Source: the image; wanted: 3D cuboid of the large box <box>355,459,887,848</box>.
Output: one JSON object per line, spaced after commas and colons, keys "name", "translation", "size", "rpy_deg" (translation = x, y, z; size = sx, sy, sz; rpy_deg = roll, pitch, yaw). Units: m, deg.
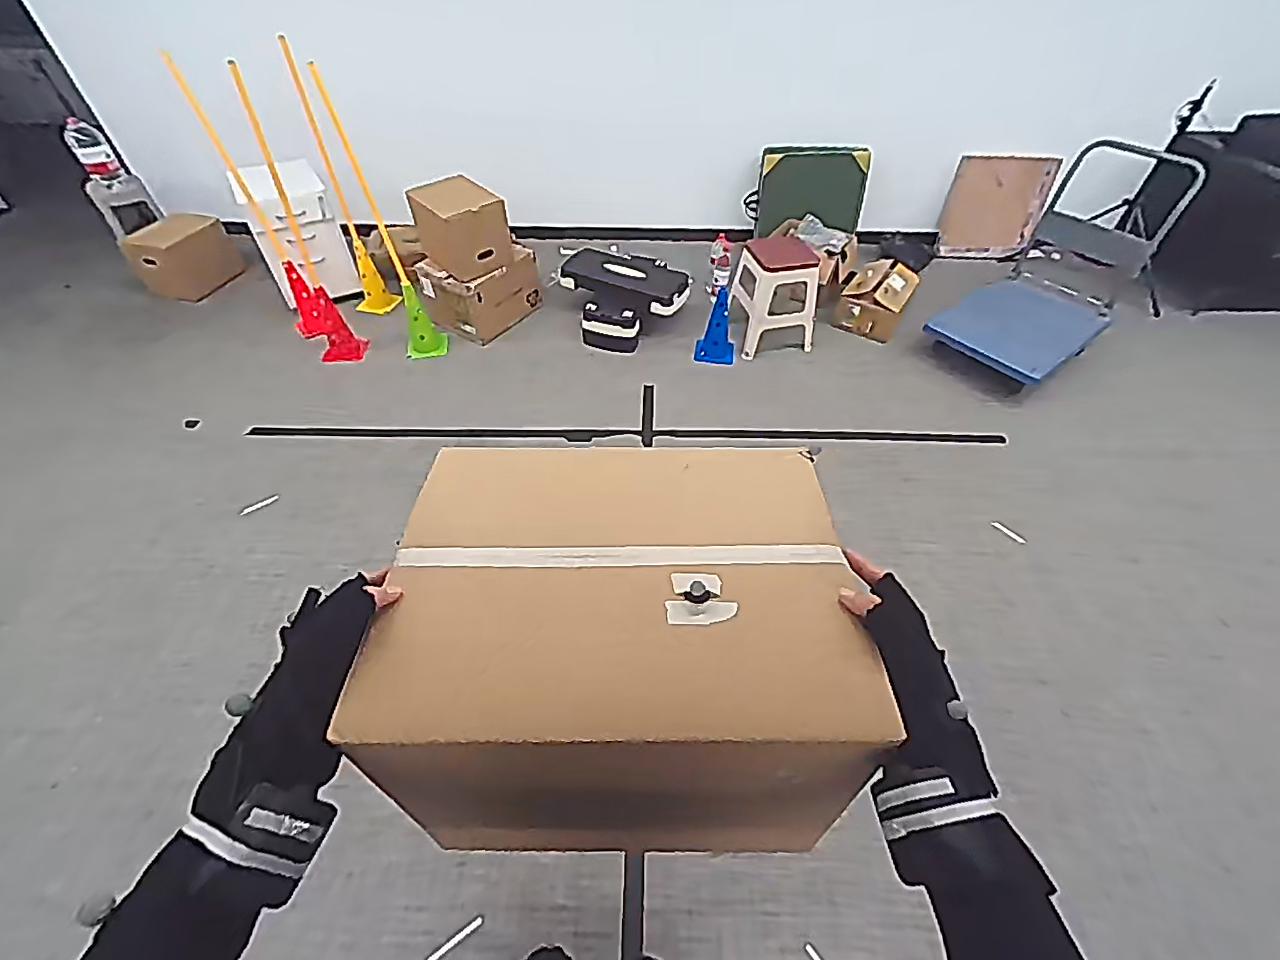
{"name": "large box", "translation": [-0.016, 0.190, 0.606], "size": [0.408, 0.320, 0.320], "rpy_deg": [0, 44, 0]}
